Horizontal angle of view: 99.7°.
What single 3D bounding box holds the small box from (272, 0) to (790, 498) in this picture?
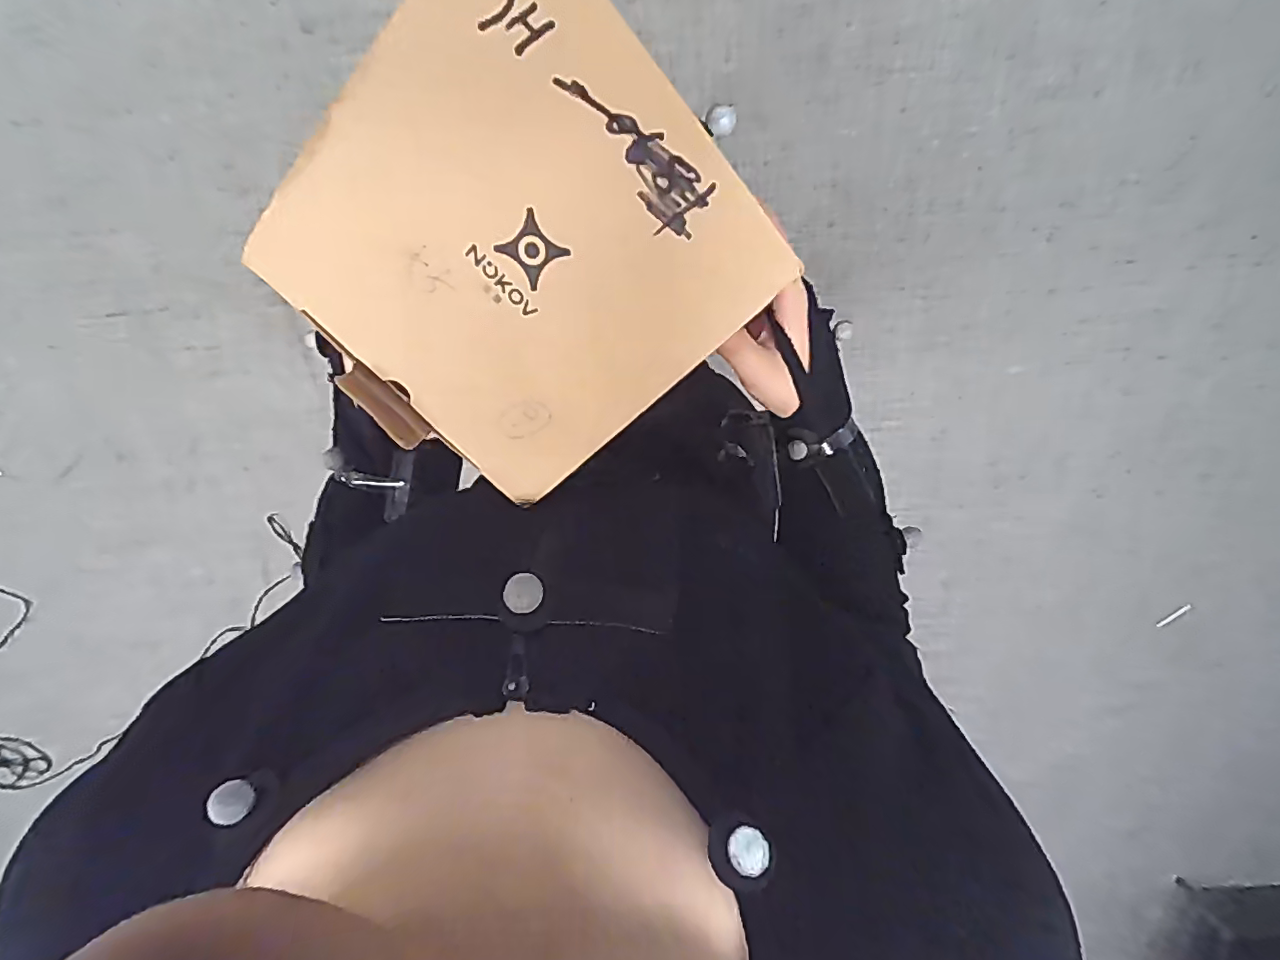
[{"bbox_3d":[-0.045,-0.129,0.306,0.179,0.176,0.168,-38,110,21],"label":"small box"}]
